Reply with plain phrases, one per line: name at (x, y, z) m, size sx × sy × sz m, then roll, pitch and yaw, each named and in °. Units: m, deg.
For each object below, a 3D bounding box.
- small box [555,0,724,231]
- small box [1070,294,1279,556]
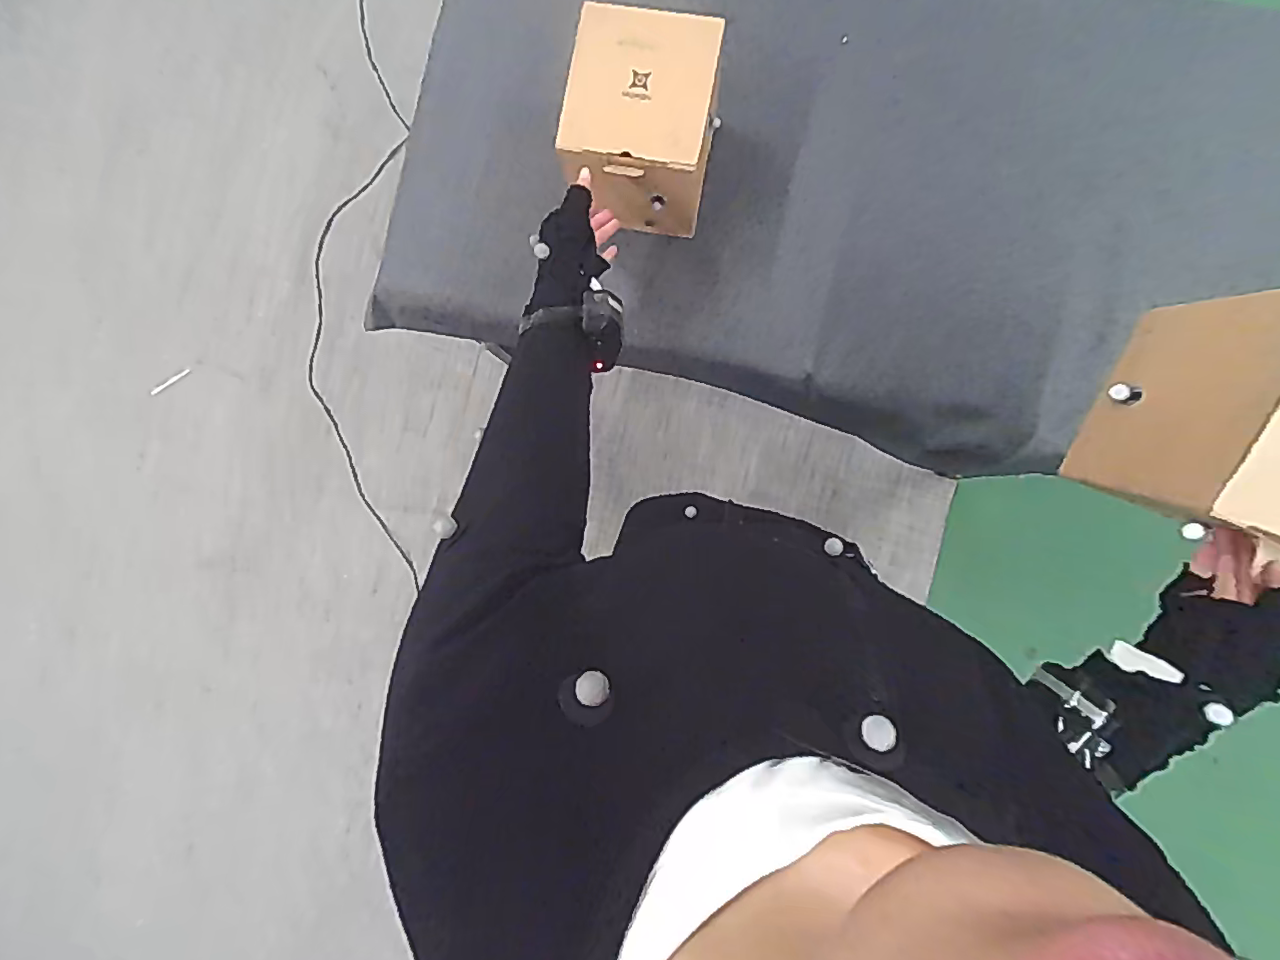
small box at (0.003, -0.445, 0.684) m, size 0.168 × 0.176 × 0.179 m, roll 10°, pitch 88°, yaw 3°
small box at (0.523, -0.039, 0.458) m, size 0.168 × 0.176 × 0.179 m, roll 21°, pitch 103°, yaw 0°
